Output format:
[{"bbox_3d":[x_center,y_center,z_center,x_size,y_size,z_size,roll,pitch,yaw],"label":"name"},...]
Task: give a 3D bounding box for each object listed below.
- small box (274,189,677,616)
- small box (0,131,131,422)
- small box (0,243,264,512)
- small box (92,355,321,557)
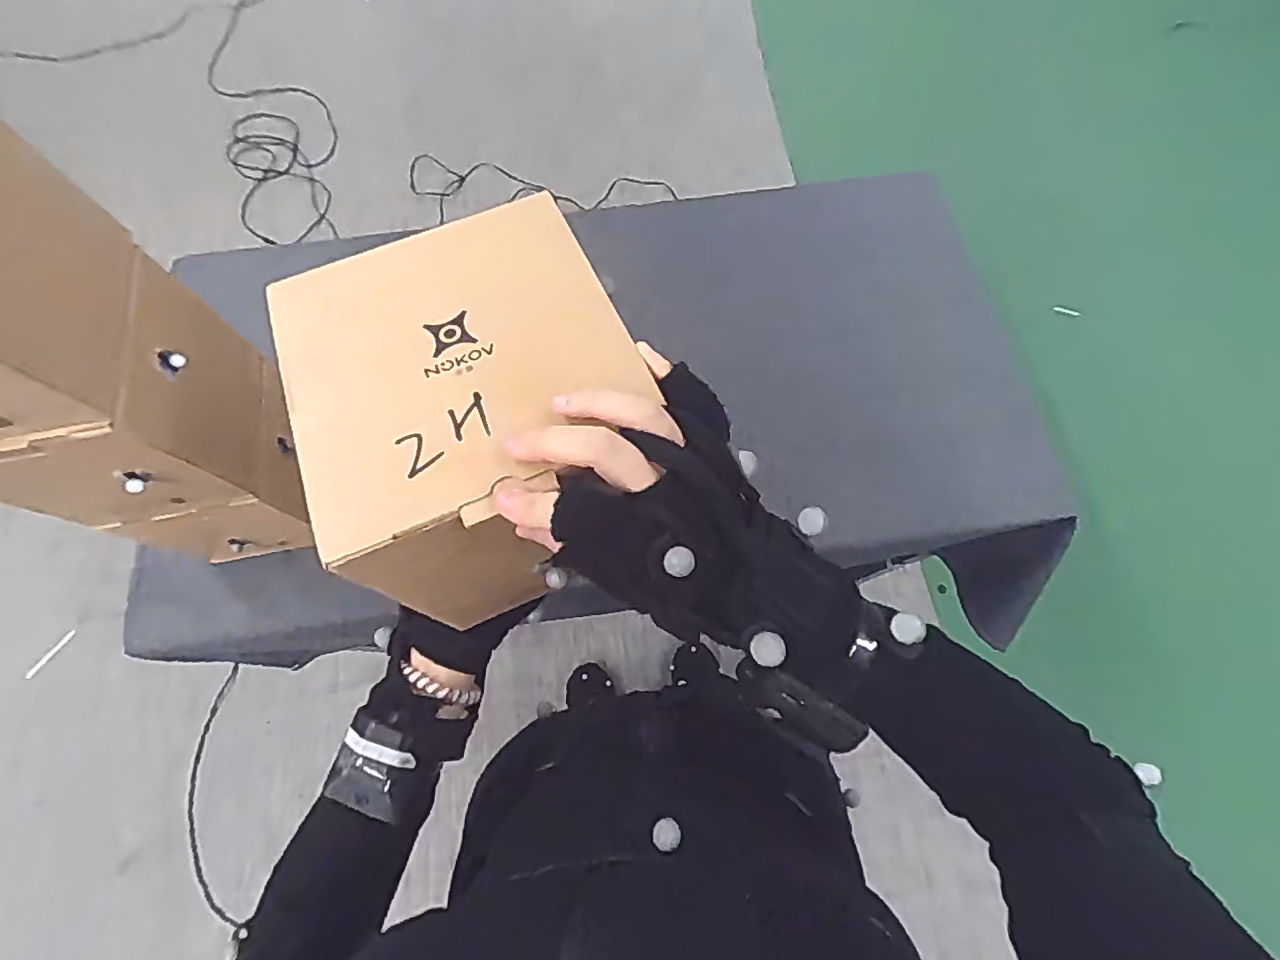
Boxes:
[{"bbox_3d":[-0.088,-0.036,0.342,0.168,0.176,0.179,-23,67,-7],"label":"small box"},{"bbox_3d":[-0.479,-0.139,0.341,0.168,0.176,0.179,-11,71,-5],"label":"small box"},{"bbox_3d":[-0.478,-0.078,0.493,0.168,0.176,0.179,-10,71,-4],"label":"small box"},{"bbox_3d":[-0.480,-0.021,0.645,0.168,0.176,0.179,-11,71,-4],"label":"small box"}]
